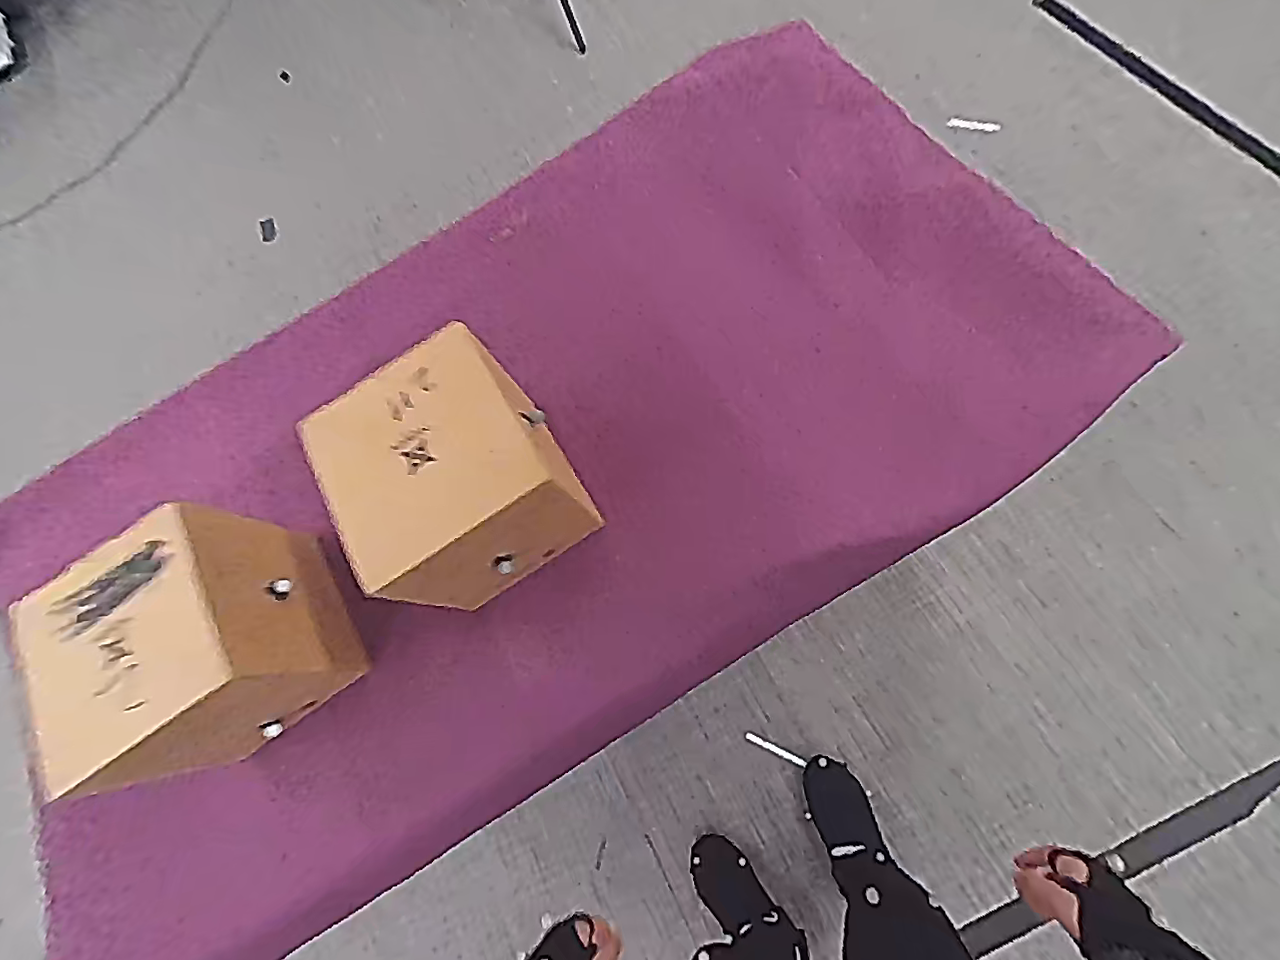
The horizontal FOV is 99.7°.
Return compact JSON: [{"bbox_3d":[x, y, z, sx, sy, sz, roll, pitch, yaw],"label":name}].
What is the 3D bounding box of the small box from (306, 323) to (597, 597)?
[{"bbox_3d":[-0.161,-0.003,0.510,0.168,0.176,0.179,-32,70,-1],"label":"small box"}]
